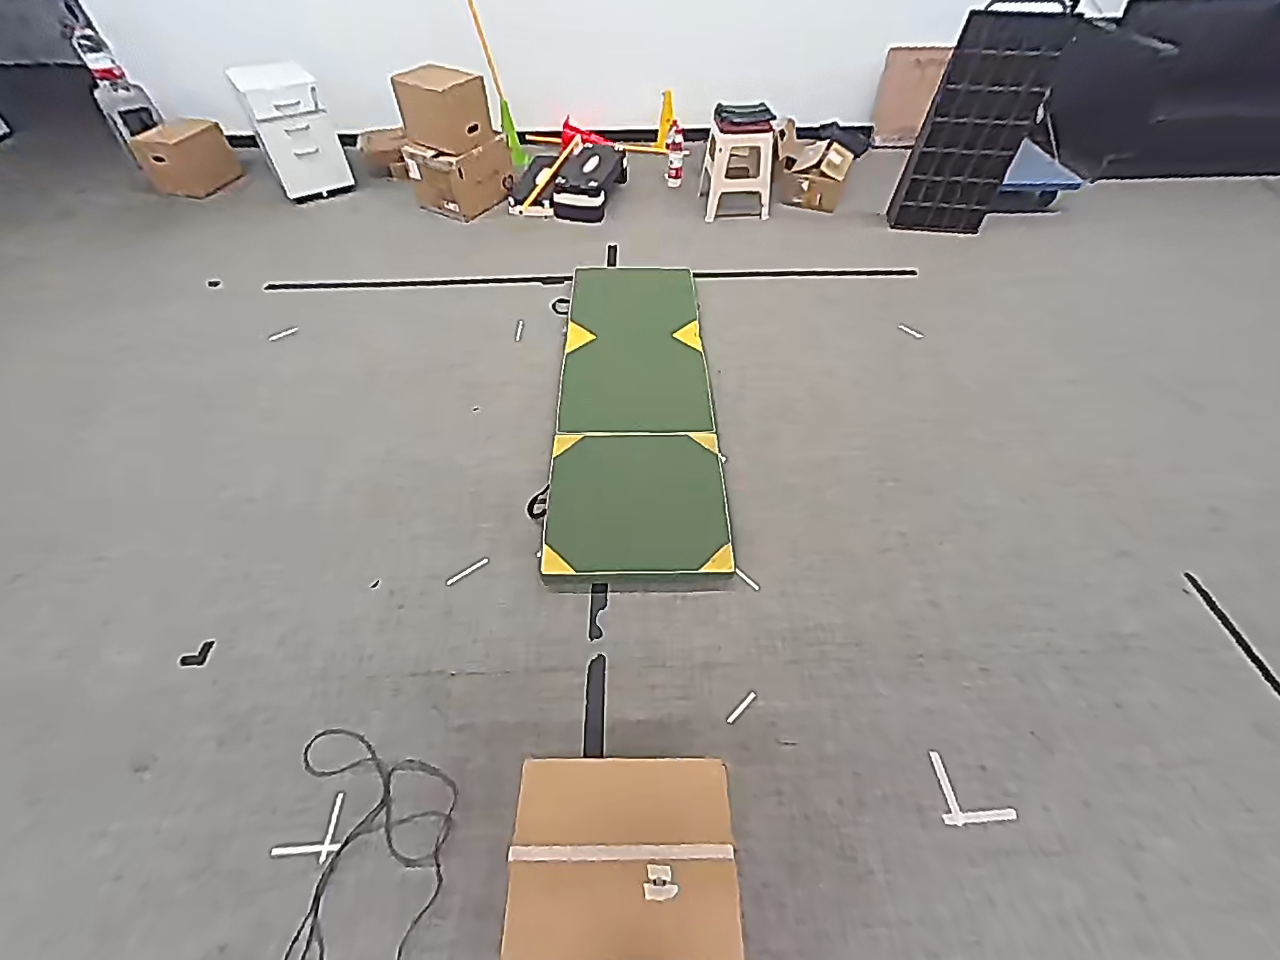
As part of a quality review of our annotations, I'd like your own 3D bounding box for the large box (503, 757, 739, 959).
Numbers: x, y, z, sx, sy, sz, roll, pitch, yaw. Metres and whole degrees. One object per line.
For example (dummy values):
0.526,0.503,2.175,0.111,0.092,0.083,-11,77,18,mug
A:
-0.037,0.778,1.106,0.408,0.320,0.320,0,50,-1,large box
